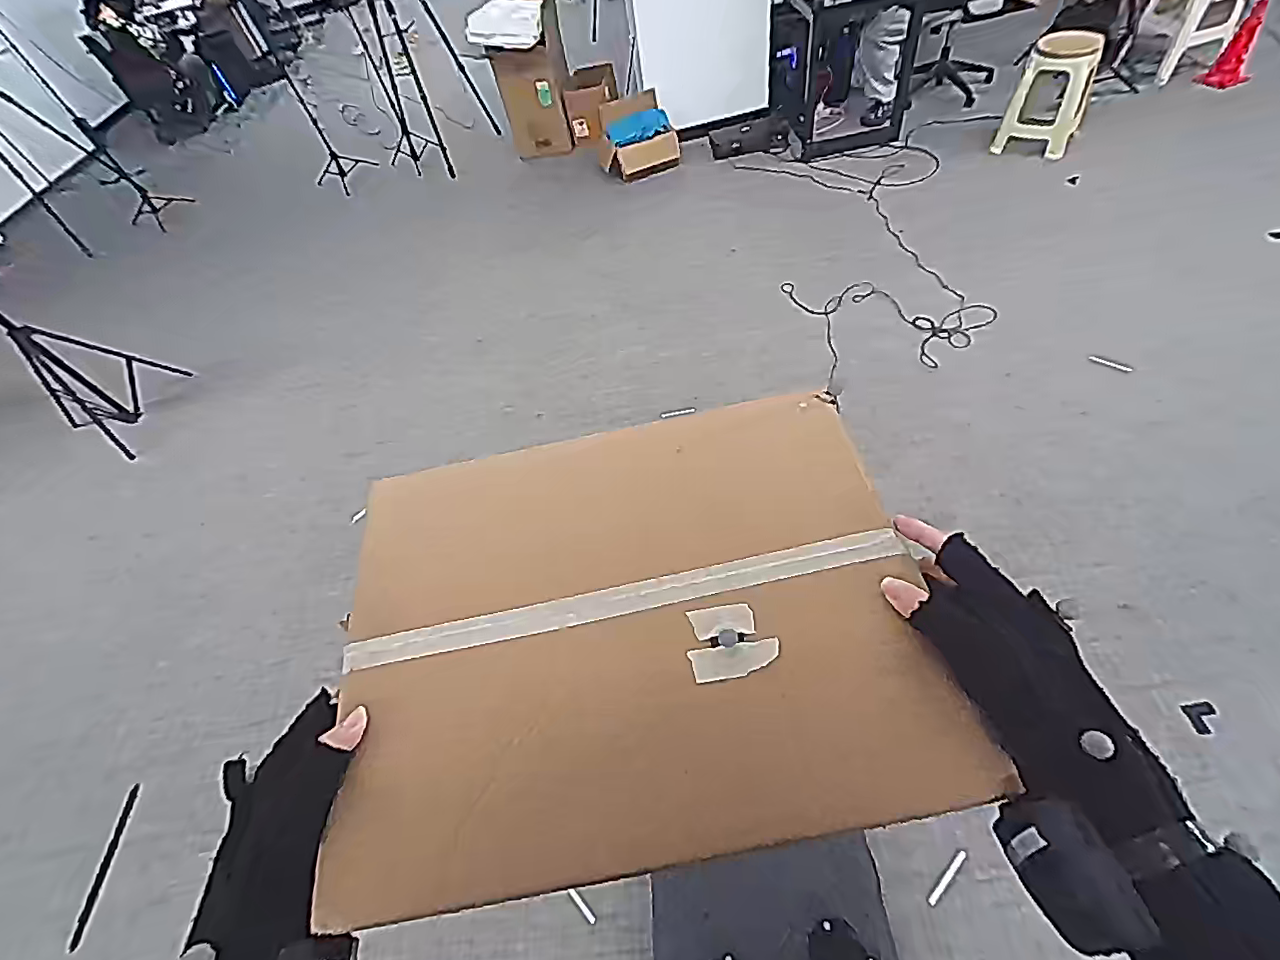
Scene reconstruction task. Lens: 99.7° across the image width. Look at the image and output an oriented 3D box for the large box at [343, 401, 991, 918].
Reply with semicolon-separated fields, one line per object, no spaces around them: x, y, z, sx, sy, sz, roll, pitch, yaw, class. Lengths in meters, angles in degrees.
0.008;0.175;0.524;0.408;0.320;0.320;-12;56;0;large box
